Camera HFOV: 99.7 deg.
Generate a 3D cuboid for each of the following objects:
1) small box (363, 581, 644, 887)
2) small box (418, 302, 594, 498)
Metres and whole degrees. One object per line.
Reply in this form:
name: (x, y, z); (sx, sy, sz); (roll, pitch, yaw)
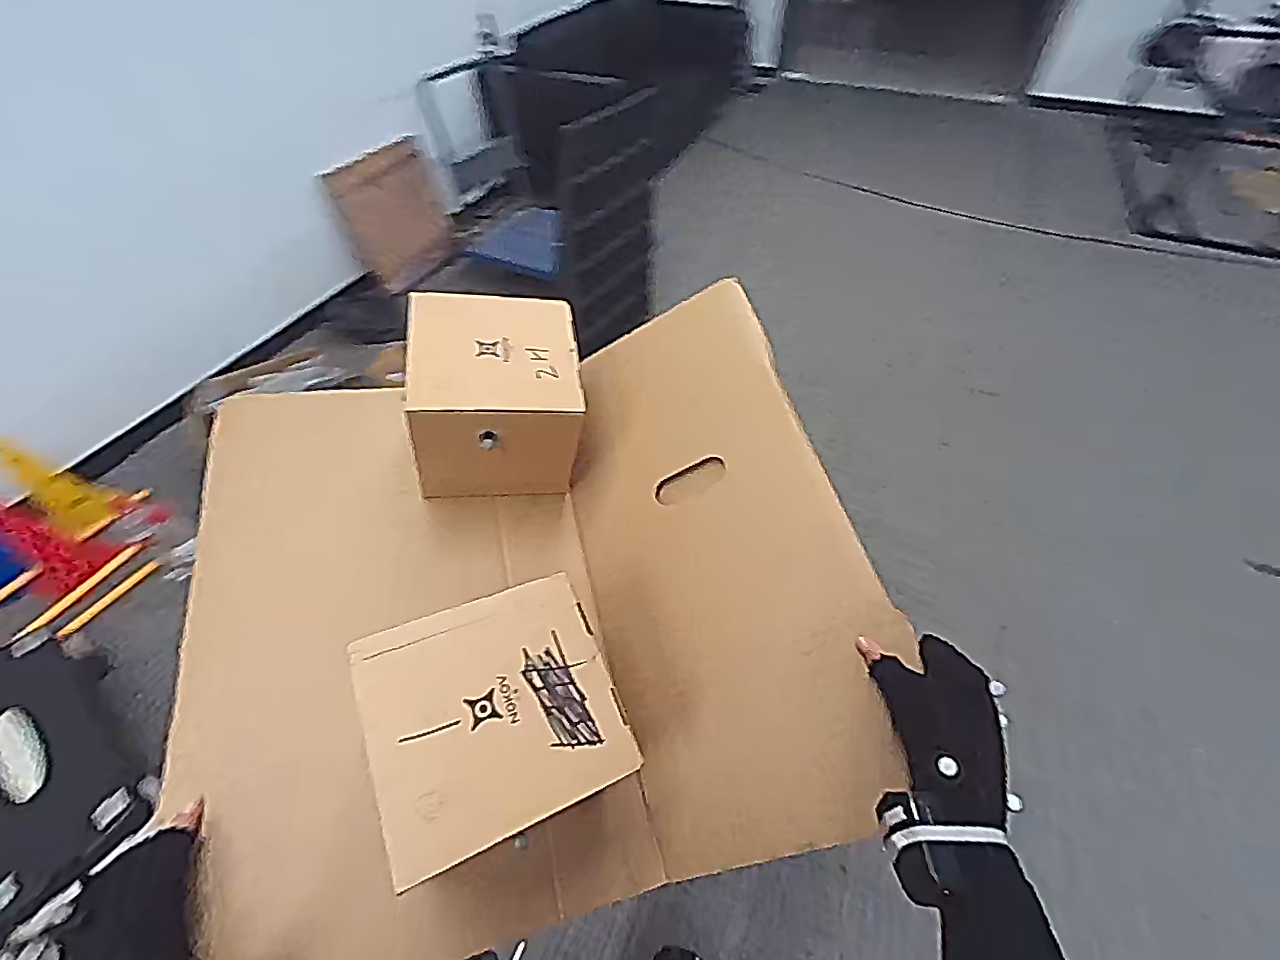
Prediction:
small box: (-0.121, 0.212, 0.473); (0.179, 0.176, 0.168); (-15, 64, -22)
small box: (-0.158, -0.087, 0.648); (0.179, 0.176, 0.168); (0, 59, -16)
